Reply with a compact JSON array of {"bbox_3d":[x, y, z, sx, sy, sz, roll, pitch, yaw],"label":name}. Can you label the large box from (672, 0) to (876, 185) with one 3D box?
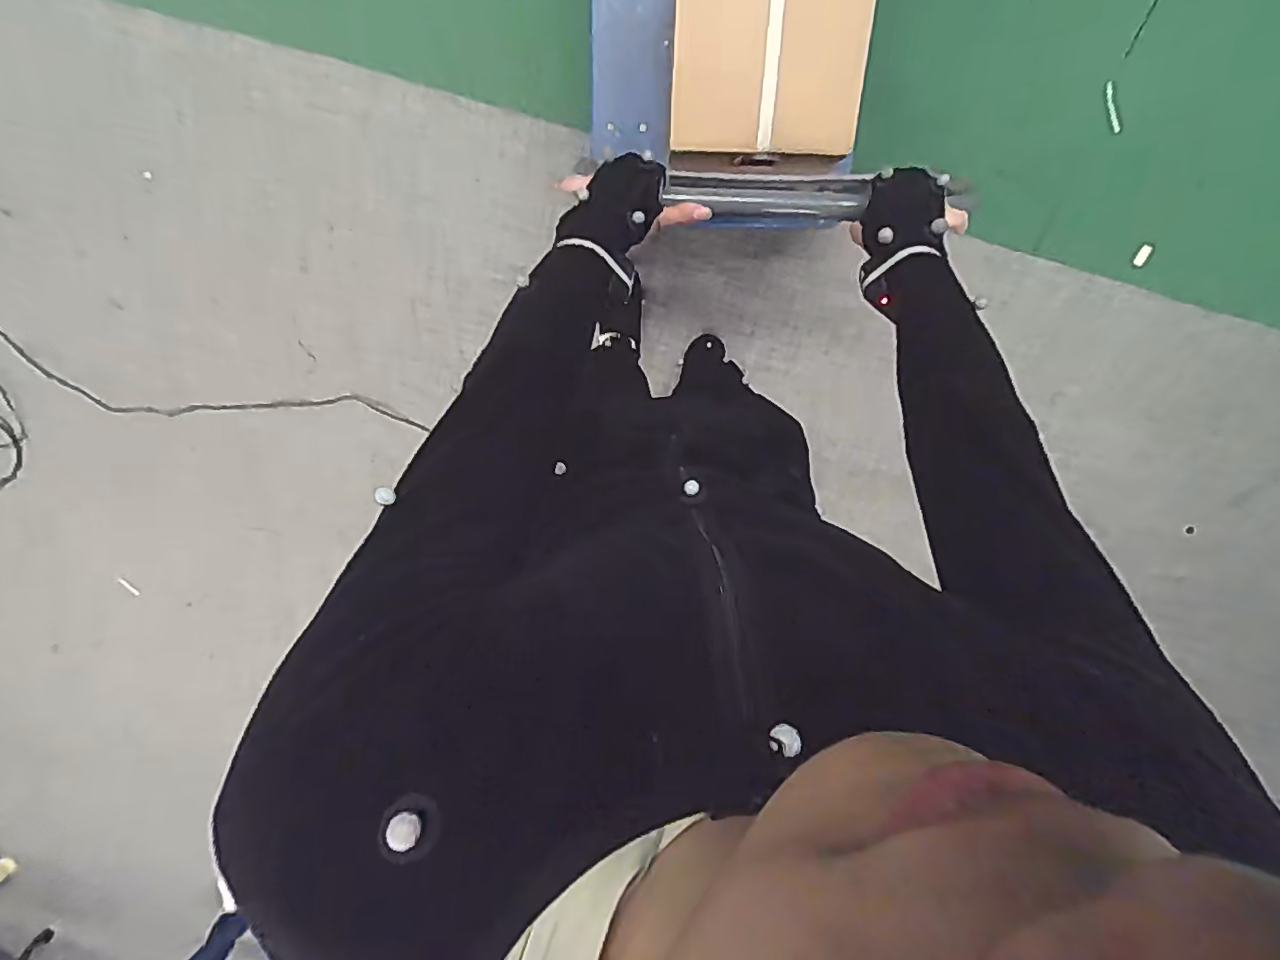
[{"bbox_3d":[0.218,-0.784,0.985,0.320,0.320,0.408,2,111,0],"label":"large box"}]
